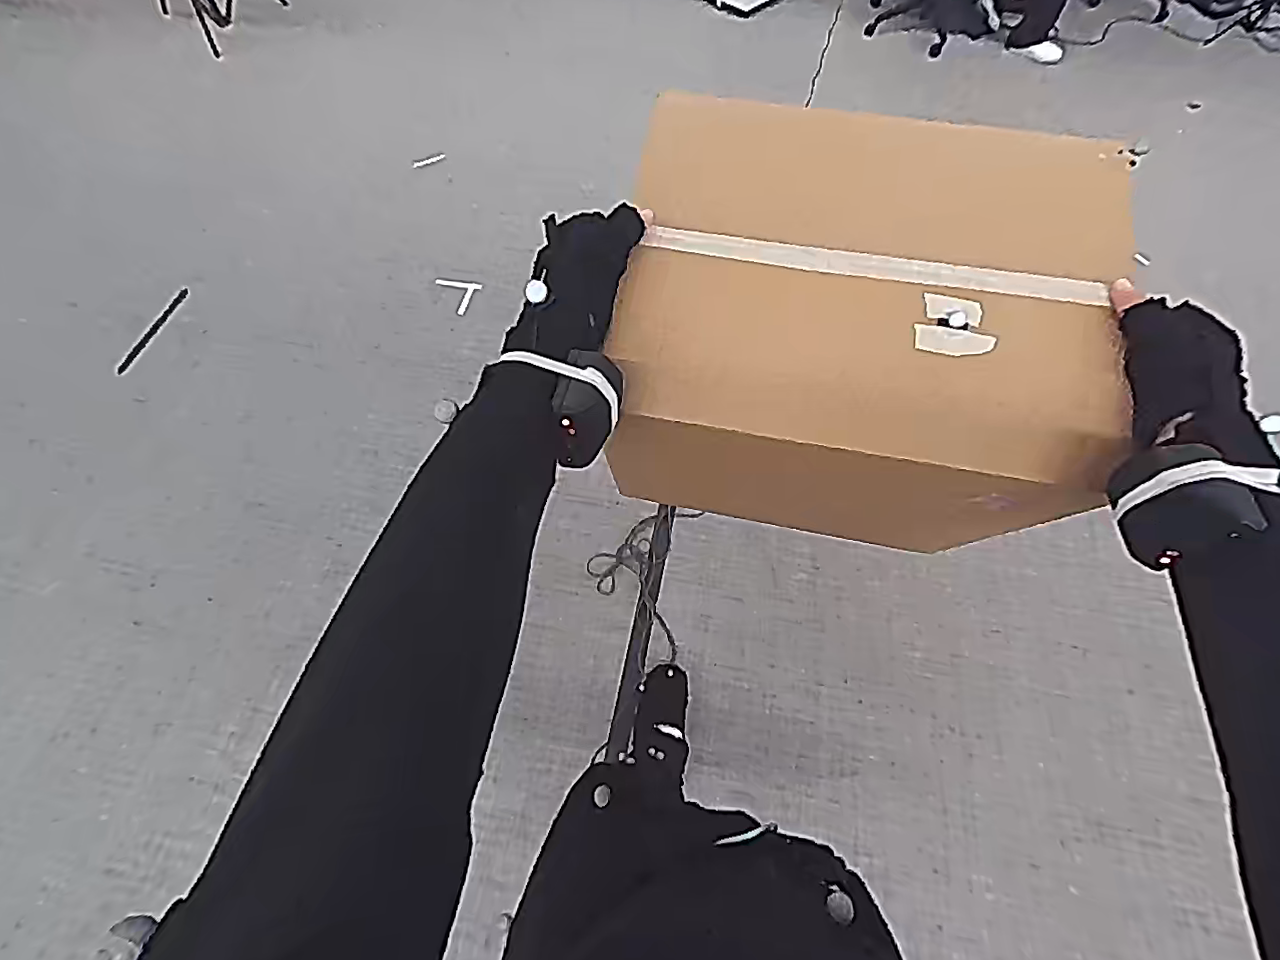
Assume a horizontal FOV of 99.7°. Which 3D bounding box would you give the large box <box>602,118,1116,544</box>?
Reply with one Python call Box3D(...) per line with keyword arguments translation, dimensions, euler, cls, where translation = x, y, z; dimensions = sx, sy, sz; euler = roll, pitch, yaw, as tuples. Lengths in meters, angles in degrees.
Box3D(translation=(0.195, -0.131, 0.601), dimensions=(0.408, 0.320, 0.320), euler=(10, 77, 6), cls="large box")
